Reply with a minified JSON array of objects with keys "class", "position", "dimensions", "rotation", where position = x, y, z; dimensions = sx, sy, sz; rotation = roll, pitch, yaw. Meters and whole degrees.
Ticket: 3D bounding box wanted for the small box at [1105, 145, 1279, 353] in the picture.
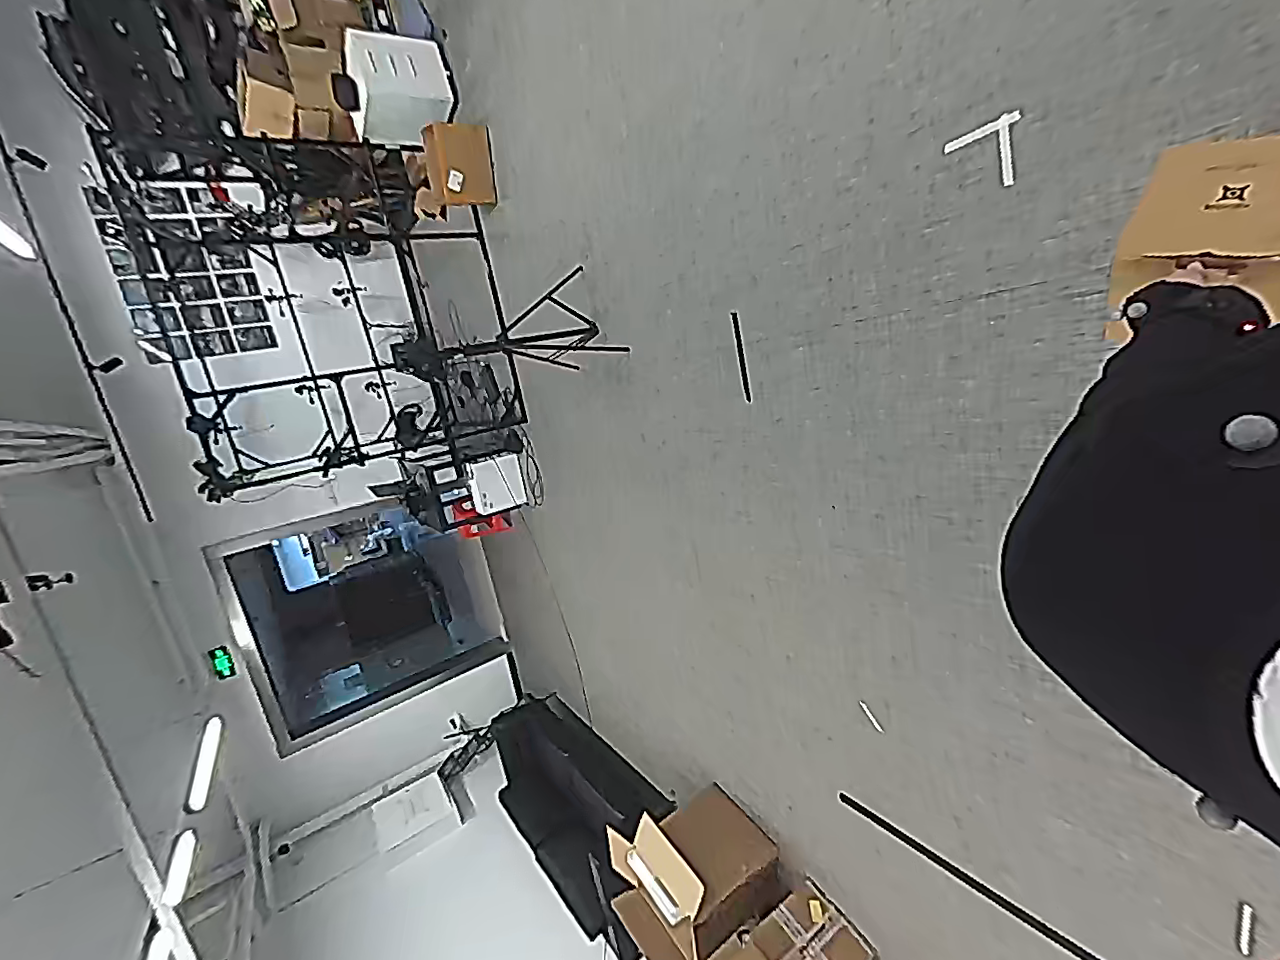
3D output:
[{"class":"small box","position":[0.721,-0.283,0.683],"dimensions":[0.168,0.179,0.176],"rotation":[23,168,43]}]
